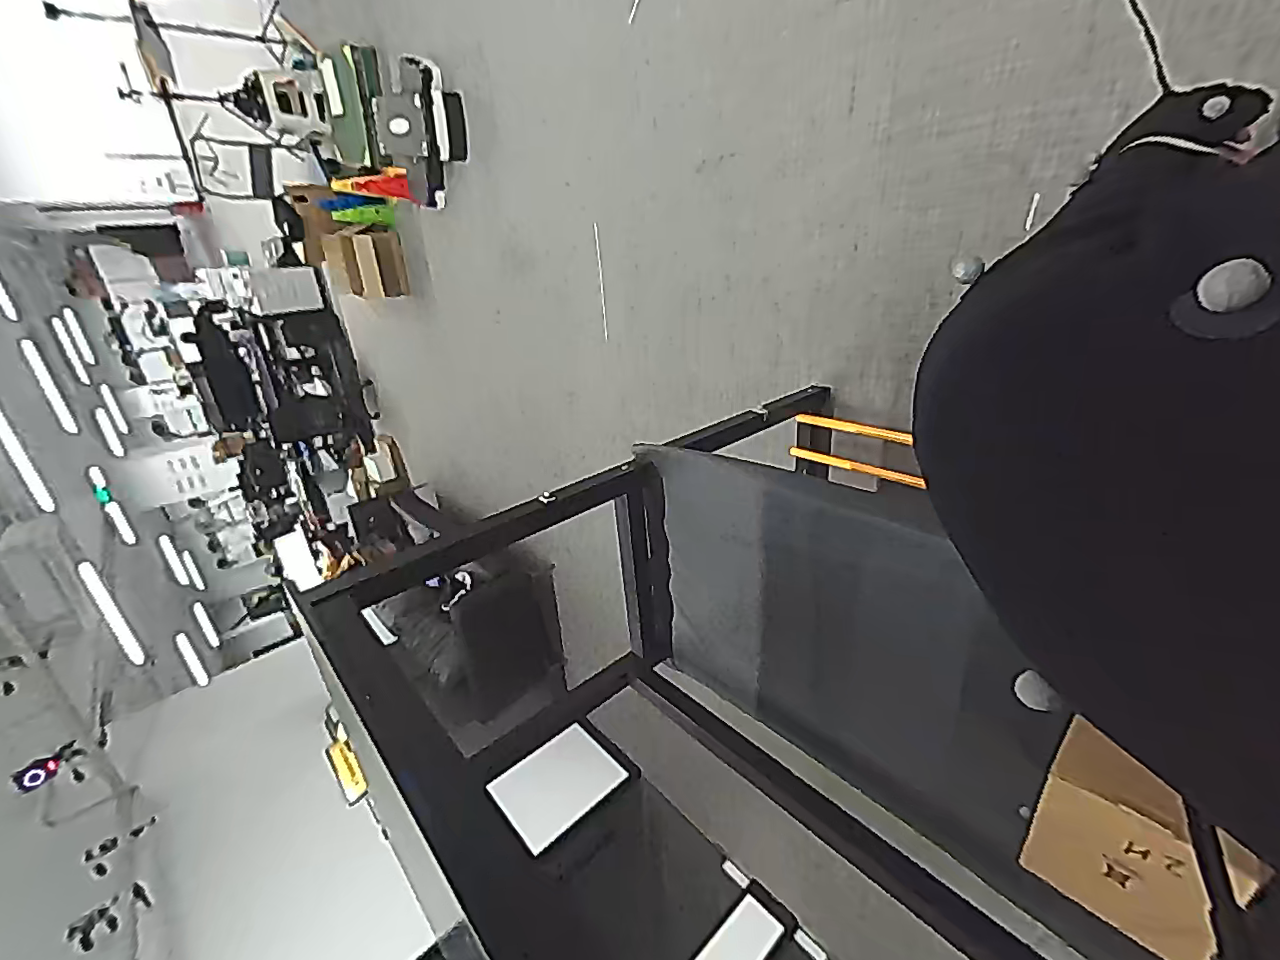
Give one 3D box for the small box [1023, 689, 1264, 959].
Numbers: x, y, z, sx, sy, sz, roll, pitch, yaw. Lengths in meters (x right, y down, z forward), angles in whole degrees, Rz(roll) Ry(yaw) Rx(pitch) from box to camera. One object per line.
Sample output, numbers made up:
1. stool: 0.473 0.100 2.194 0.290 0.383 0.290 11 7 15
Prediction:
1. small box: 0.596 0.395 0.646 0.168 0.176 0.179 21 125 44
